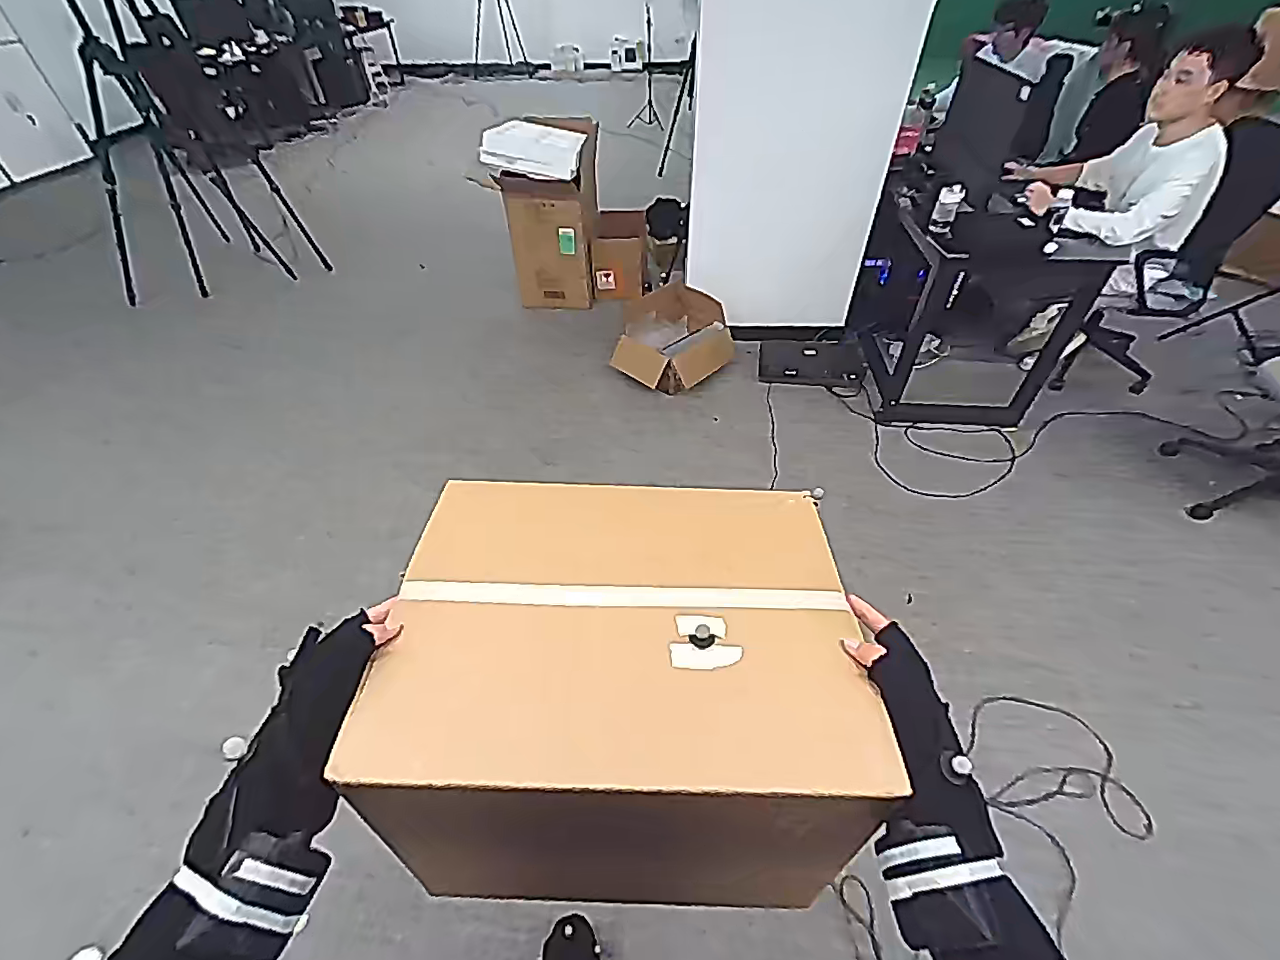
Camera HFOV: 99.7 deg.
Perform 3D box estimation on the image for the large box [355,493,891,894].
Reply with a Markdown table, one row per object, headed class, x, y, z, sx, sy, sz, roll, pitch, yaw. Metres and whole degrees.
| class | x | y | z | sx | sy | sz | roll | pitch | yaw |
| --- | --- | --- | --- | --- | --- | --- | --- | --- | --- |
| large box | -0.016 | 0.231 | 0.601 | 0.408 | 0.320 | 0.320 | 2 | 40 | 0 |
